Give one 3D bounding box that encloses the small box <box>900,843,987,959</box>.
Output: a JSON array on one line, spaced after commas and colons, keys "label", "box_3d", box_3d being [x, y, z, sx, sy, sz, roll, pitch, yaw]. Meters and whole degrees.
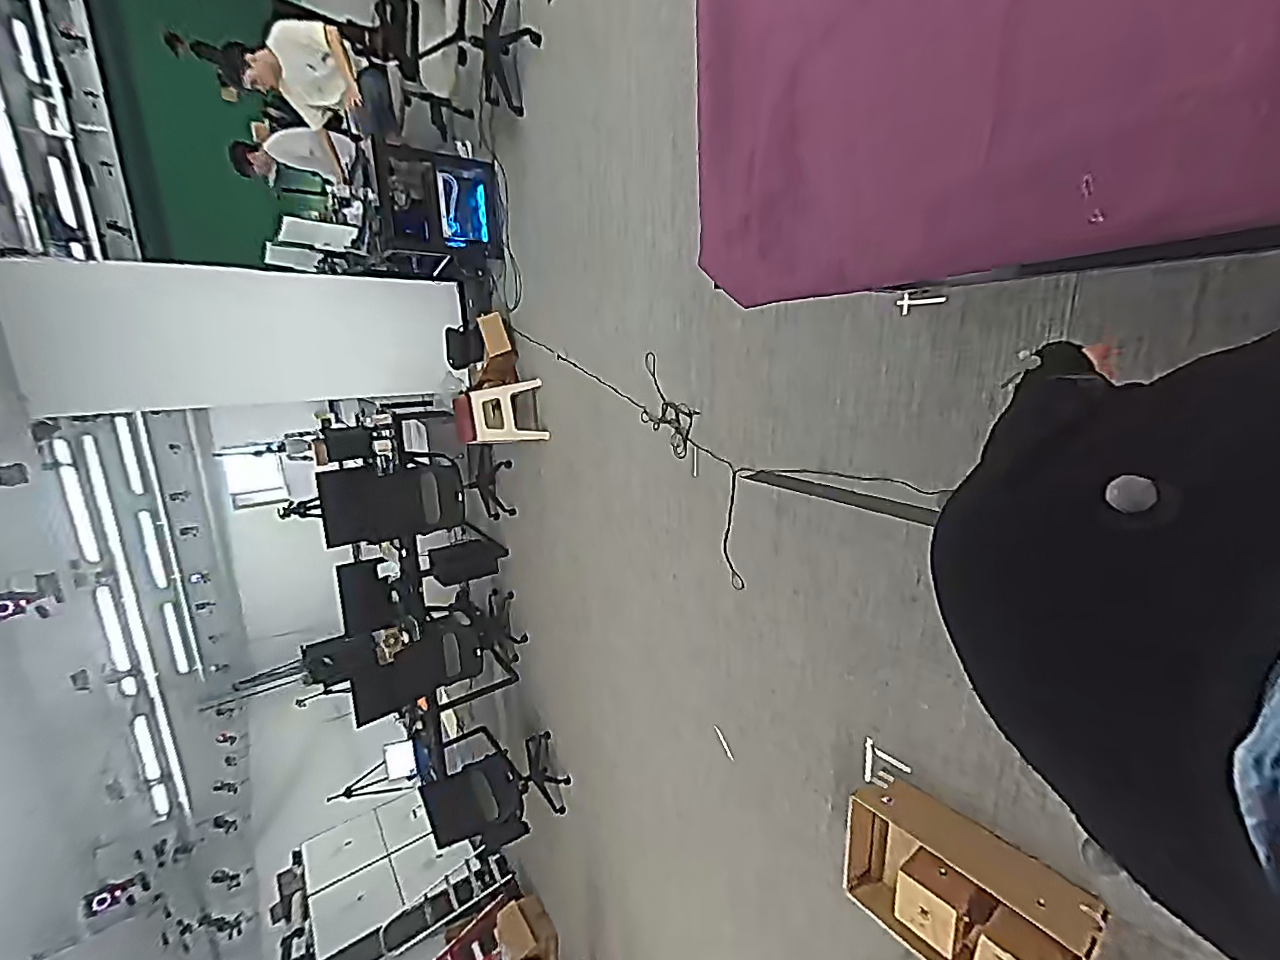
[{"label": "small box", "box_3d": [0.890, 1.224, 1.586, 0.168, 0.176, 0.179, 14, 111, 53]}]
